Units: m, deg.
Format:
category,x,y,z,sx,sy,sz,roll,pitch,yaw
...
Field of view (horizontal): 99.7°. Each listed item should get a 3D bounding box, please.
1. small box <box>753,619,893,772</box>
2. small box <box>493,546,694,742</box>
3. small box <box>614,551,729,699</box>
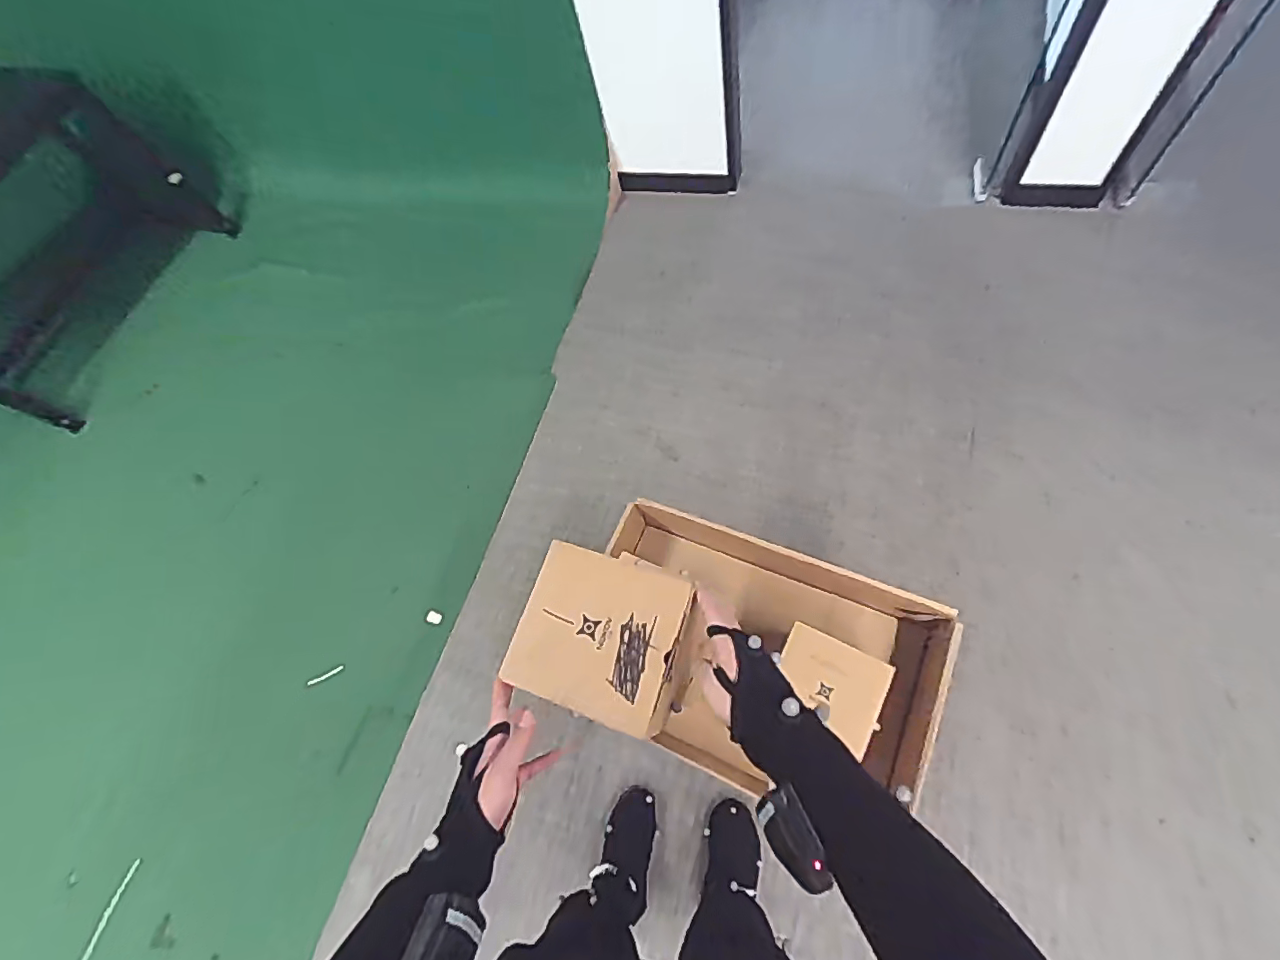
category,x,y,z,sx,sy,sz,roll,pitch,yaw
small box,0.307,0.364,0.926,0.168,0.176,0.179,24,75,21
small box,-0.042,0.198,0.666,0.179,0.176,0.168,15,73,17
small box,0.031,0.238,0.867,0.179,0.176,0.168,20,74,20
